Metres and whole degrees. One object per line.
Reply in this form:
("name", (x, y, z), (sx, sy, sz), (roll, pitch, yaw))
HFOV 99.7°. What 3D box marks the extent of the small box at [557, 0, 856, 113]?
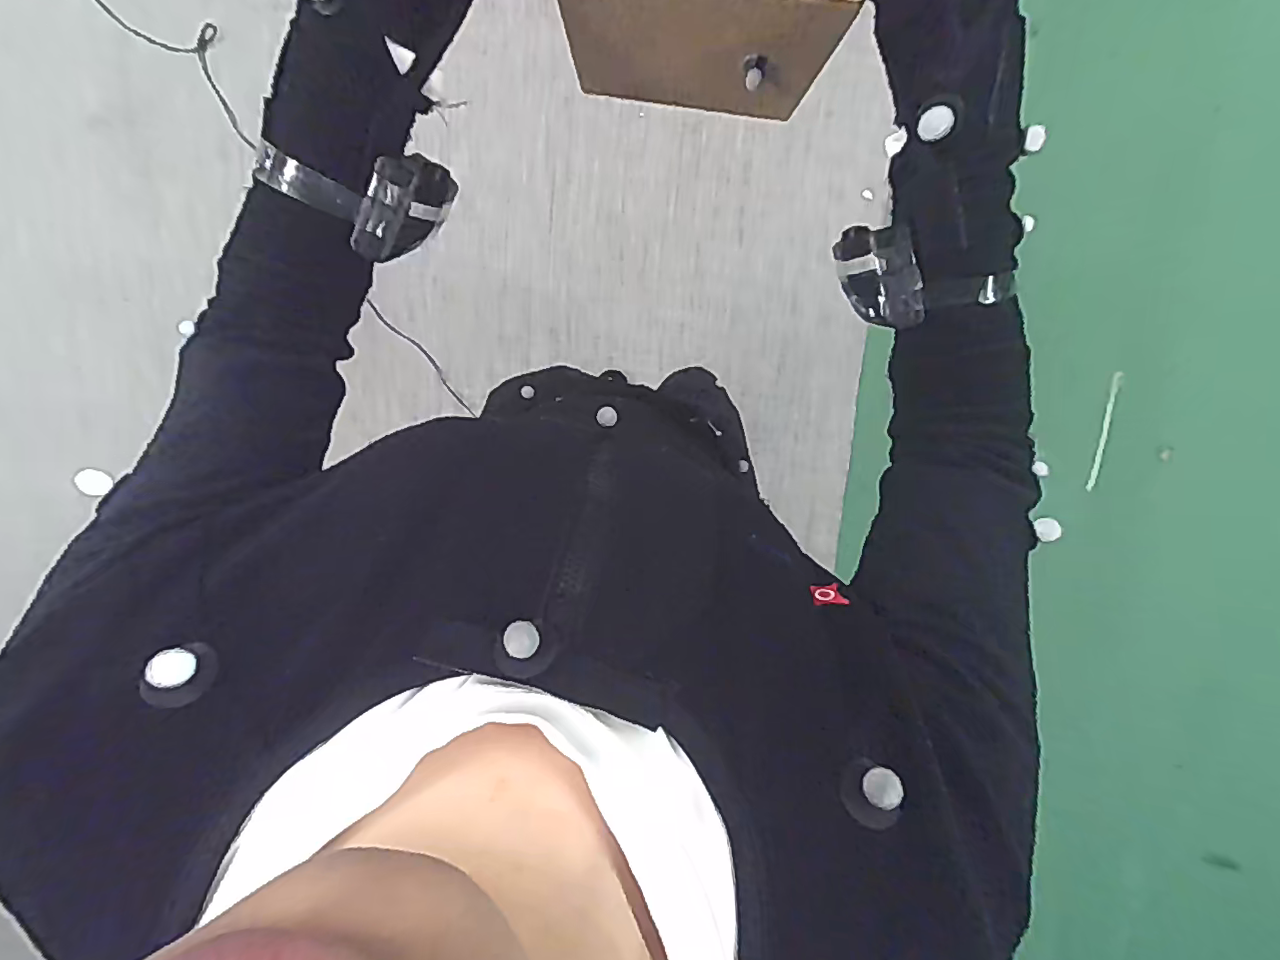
("small box", (0.045, -0.368, 0.352), (0.179, 0.176, 0.168), (7, 103, 1))
